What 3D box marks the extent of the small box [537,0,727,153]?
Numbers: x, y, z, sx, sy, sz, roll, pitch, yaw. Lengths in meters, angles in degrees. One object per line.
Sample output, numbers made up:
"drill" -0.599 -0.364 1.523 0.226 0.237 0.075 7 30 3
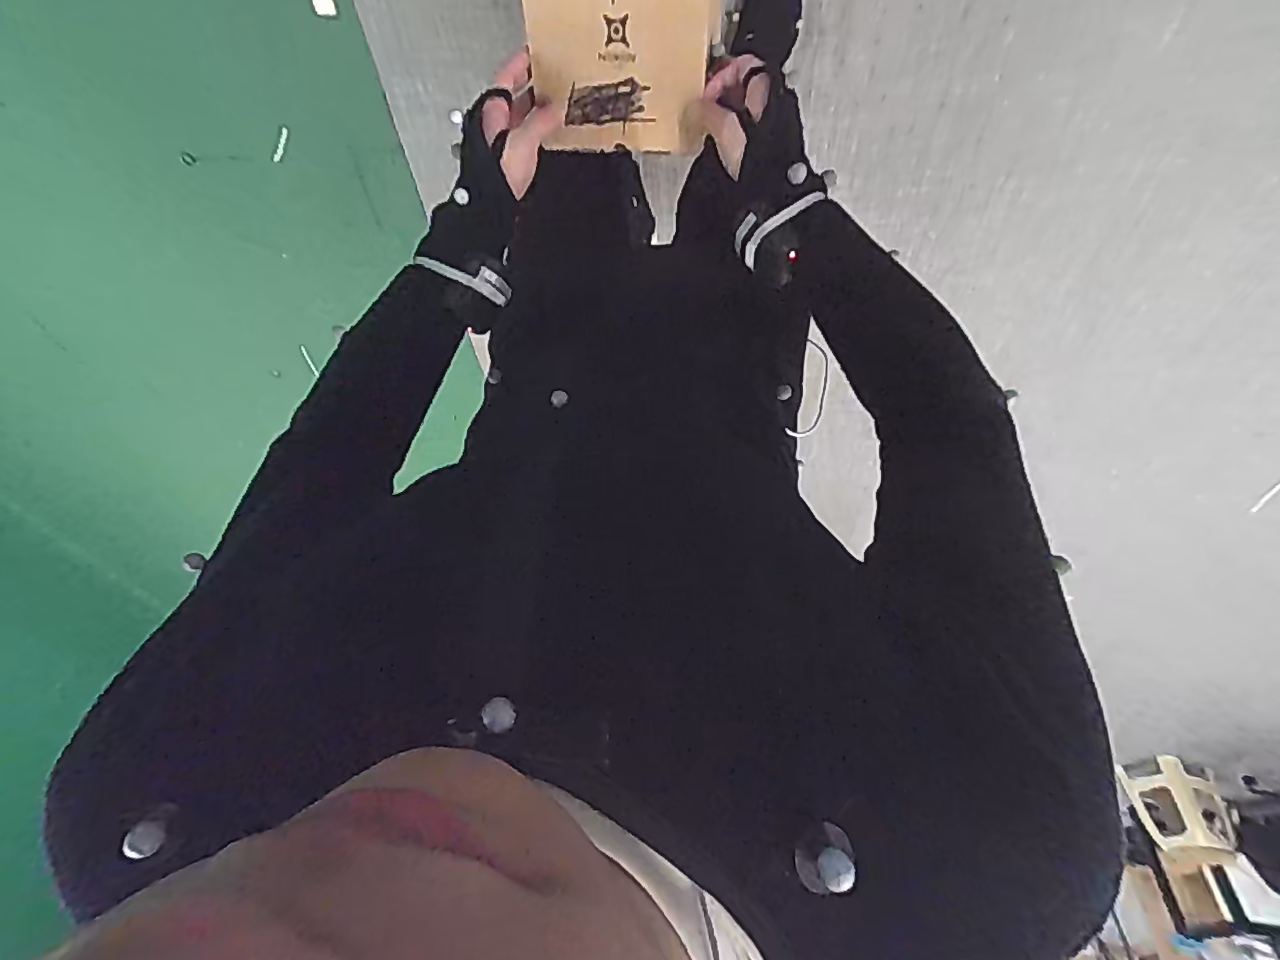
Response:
"small box" 0.001 -0.461 0.552 0.168 0.176 0.179 6 137 7
